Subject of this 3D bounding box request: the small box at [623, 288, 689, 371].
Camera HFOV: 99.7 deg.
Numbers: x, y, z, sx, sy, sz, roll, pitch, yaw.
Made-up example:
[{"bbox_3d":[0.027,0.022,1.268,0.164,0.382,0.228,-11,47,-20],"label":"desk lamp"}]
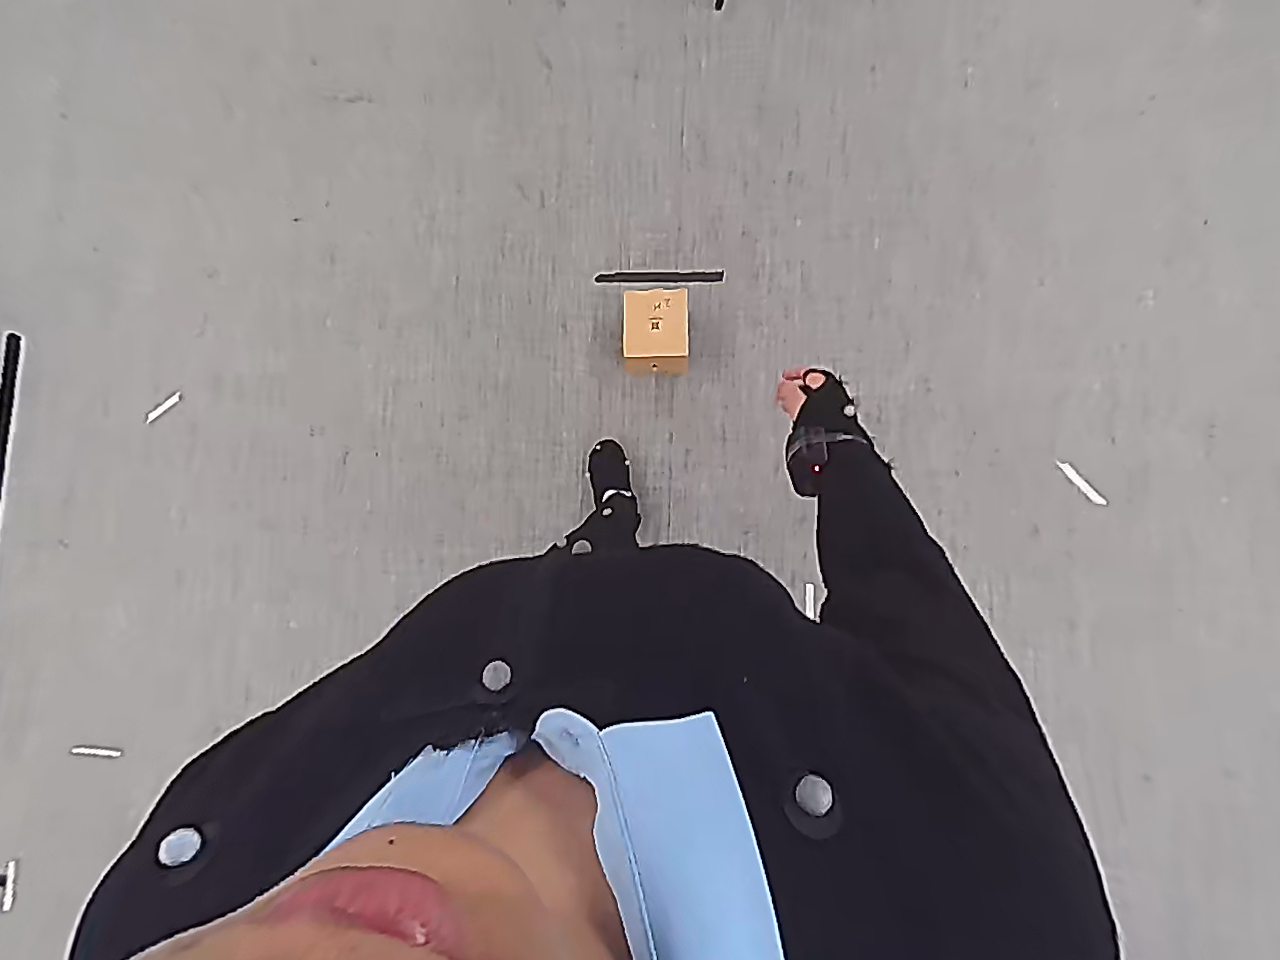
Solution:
[{"bbox_3d":[0.046,-0.391,1.438,0.168,0.176,0.179,0,86,4],"label":"small box"}]
